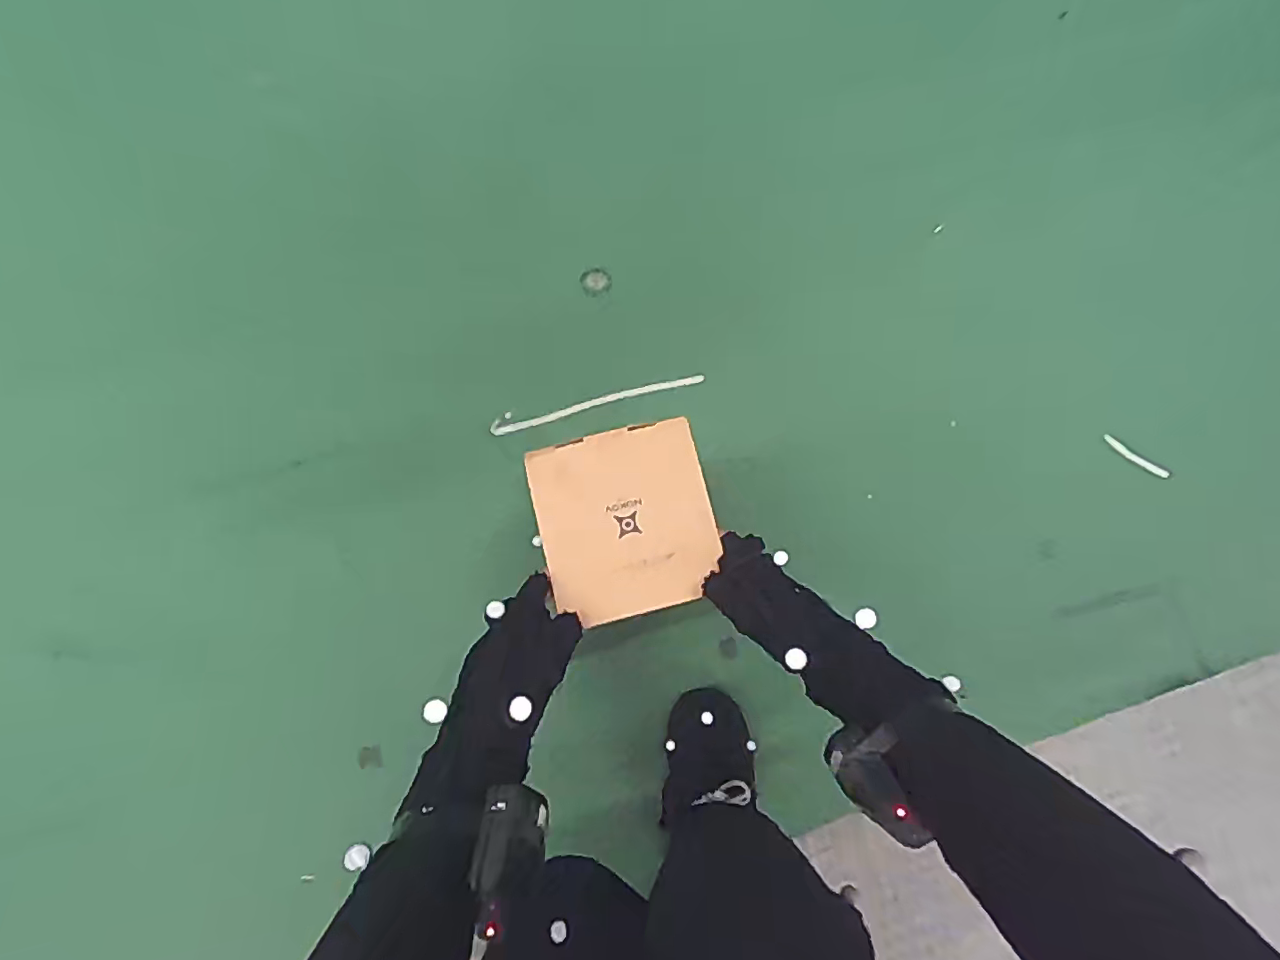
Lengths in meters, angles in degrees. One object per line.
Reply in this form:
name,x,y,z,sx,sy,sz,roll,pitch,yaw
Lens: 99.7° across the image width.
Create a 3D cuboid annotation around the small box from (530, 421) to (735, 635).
small box,-0.012,0.056,0.579,0.168,0.176,0.179,-12,81,-3
